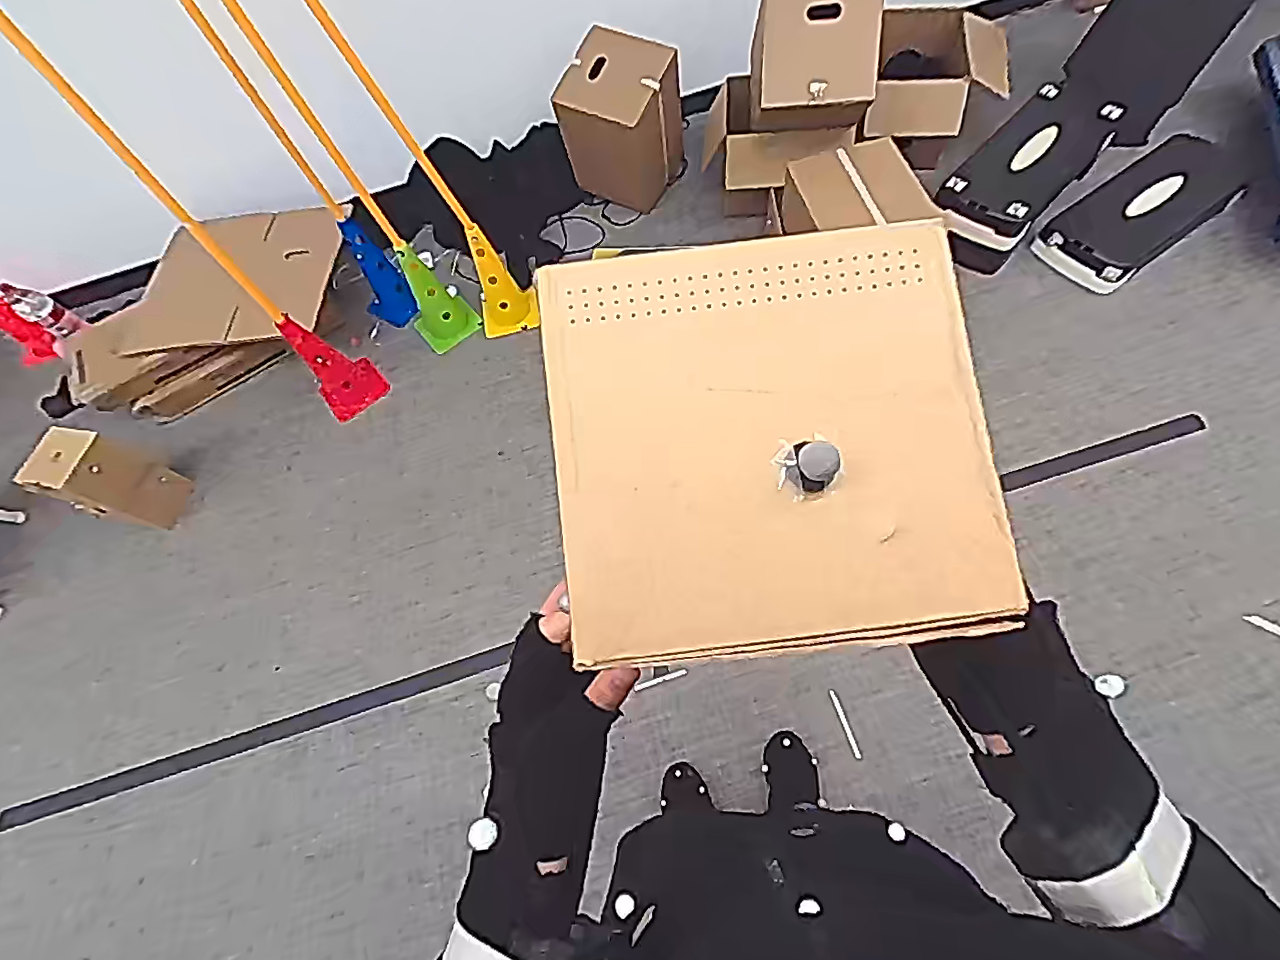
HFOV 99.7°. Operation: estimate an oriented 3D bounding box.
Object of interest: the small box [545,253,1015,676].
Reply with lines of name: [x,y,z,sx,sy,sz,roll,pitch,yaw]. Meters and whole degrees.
small box: [0.054,-0.005,0.302,0.179,0.168,0.176,-8,81,0]
